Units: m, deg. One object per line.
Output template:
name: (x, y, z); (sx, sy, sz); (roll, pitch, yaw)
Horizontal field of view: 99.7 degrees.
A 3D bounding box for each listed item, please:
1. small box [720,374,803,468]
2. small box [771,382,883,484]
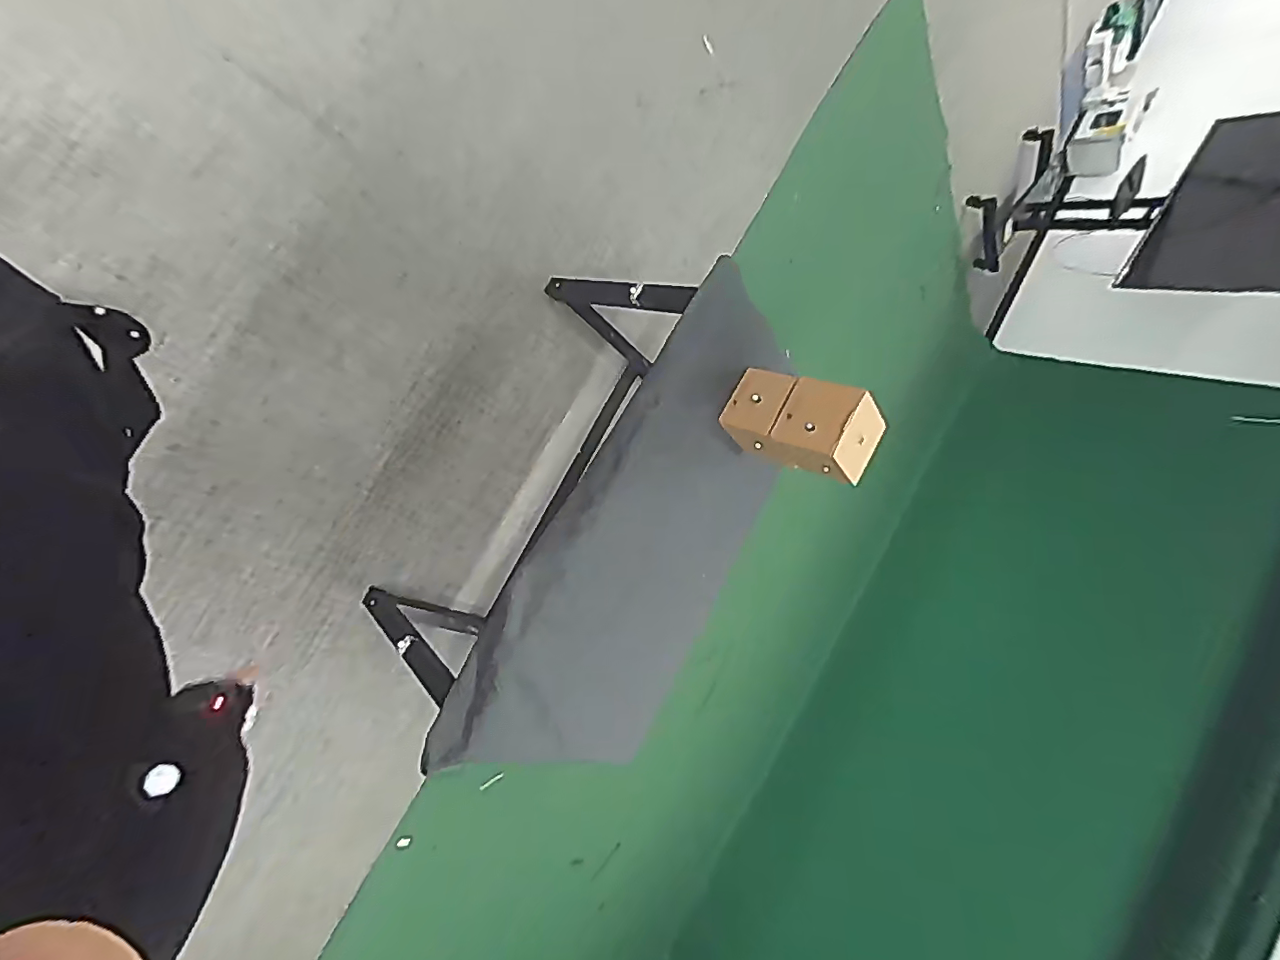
small box: (0.334, -0.157, 1.389); (0.179, 0.176, 0.168); (37, 81, -46)
small box: (0.435, -0.114, 1.268); (0.179, 0.176, 0.168); (34, 83, -47)
